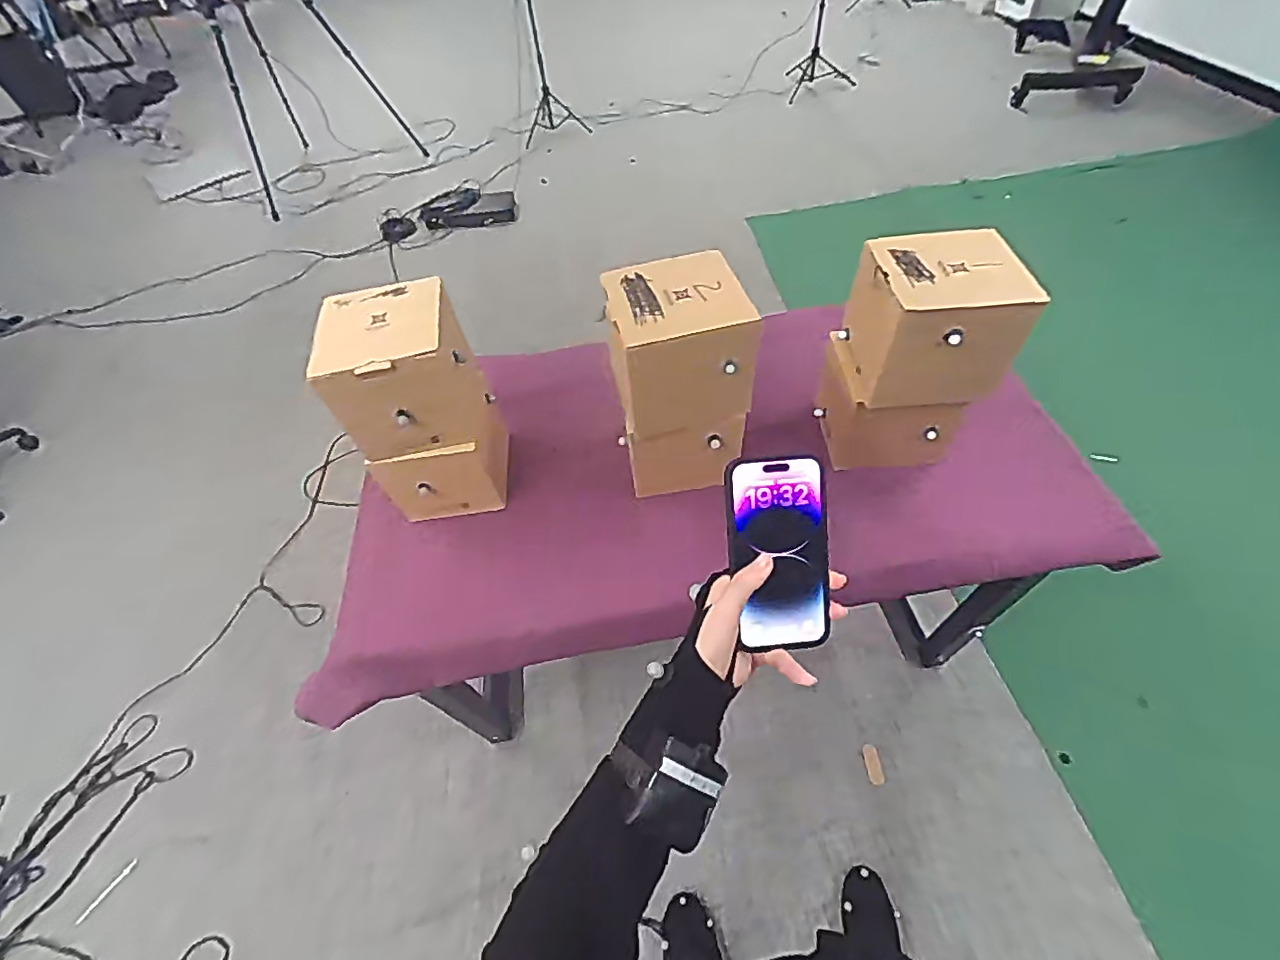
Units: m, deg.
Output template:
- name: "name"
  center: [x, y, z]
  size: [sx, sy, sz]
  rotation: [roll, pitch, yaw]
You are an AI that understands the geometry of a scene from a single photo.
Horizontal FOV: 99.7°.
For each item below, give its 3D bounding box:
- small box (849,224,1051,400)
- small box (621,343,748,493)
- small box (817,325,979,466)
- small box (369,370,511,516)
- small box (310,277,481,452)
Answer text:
- name: "small box"
  center: [0.402, -0.226, 0.747]
  size: [0.179, 0.176, 0.168]
  rotation: [-4, 53, 3]
- name: "small box"
  center: [0.069, -0.098, 0.893]
  size: [0.179, 0.176, 0.168]
  rotation: [-9, 53, 0]
- name: "small box"
  center: [0.406, -0.139, 0.887]
  size: [0.179, 0.176, 0.168]
  rotation: [-4, 53, 4]
- name: "small box"
  center: [-0.320, -0.053, 0.905]
  size: [0.168, 0.176, 0.179]
  rotation: [-8, 53, 0]
- name: "small box"
  center: [-0.336, -0.158, 0.779]
  size: [0.168, 0.176, 0.179]
  rotation: [-12, 54, -4]
